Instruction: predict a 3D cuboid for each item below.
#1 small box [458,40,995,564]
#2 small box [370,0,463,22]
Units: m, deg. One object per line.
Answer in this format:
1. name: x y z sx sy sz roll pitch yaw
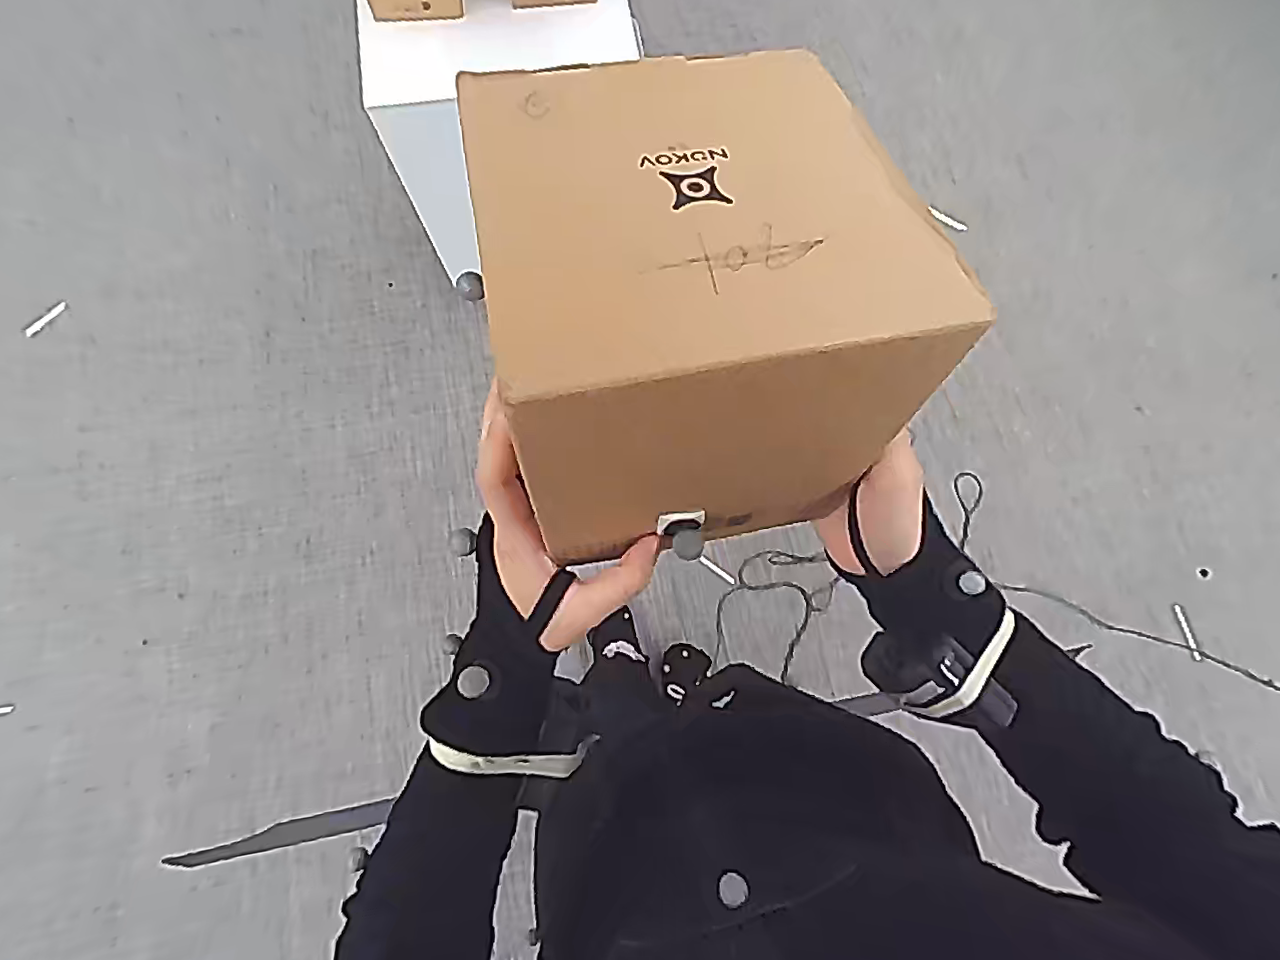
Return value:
1. small box: 0.017 -0.078 0.275 0.168 0.176 0.179 -12 64 -8
2. small box: -0.422 -0.968 0.971 0.168 0.176 0.179 -6 76 -4
